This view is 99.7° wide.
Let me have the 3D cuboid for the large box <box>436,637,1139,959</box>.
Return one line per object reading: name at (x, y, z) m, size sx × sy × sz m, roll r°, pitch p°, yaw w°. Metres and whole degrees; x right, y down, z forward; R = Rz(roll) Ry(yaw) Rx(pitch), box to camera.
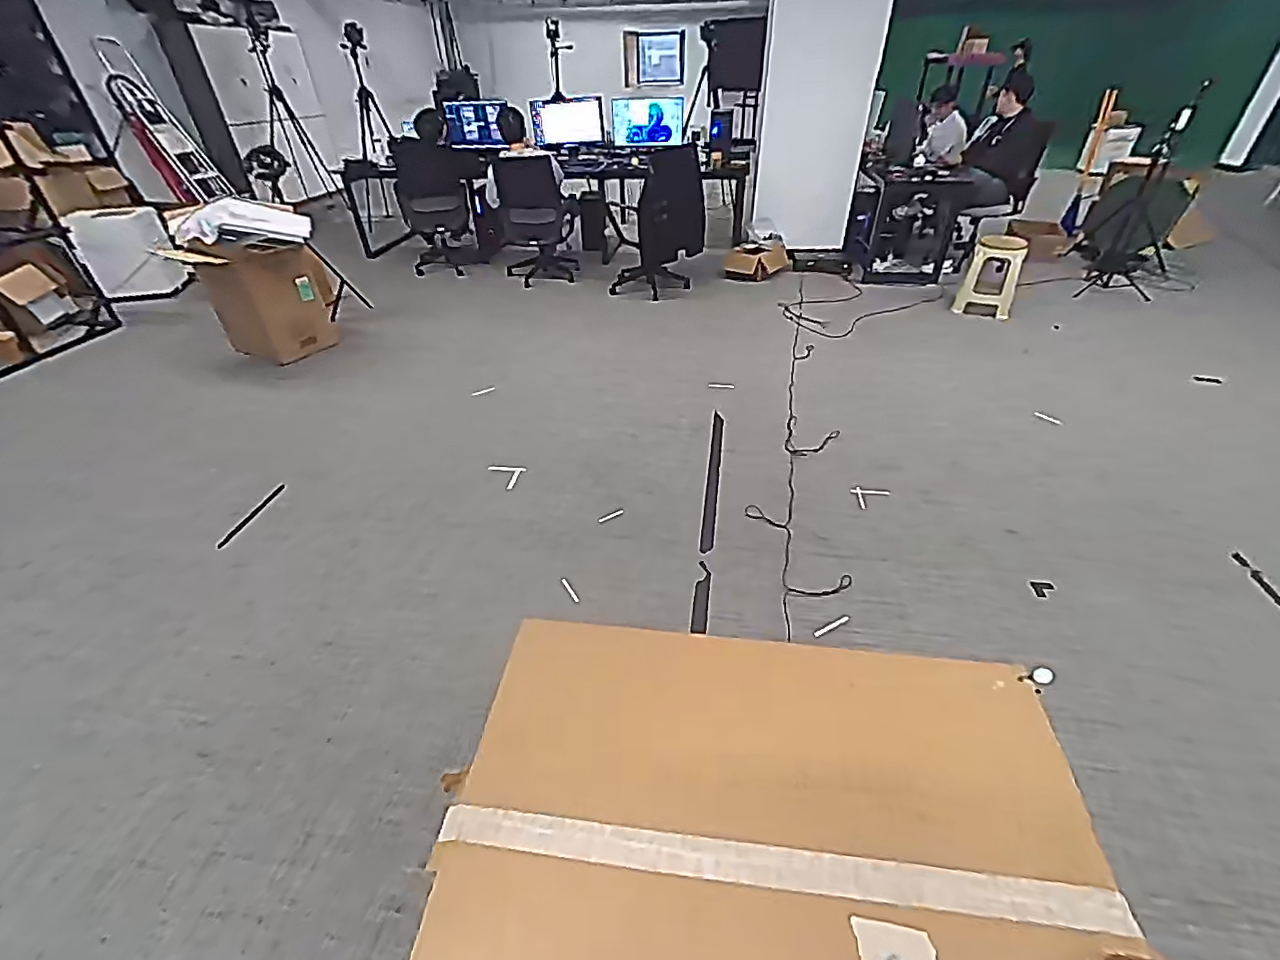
large box at (0.087, 0.357, 0.436) m, size 0.408 × 0.320 × 0.320 m, roll 4°, pitch 44°, yaw 6°
